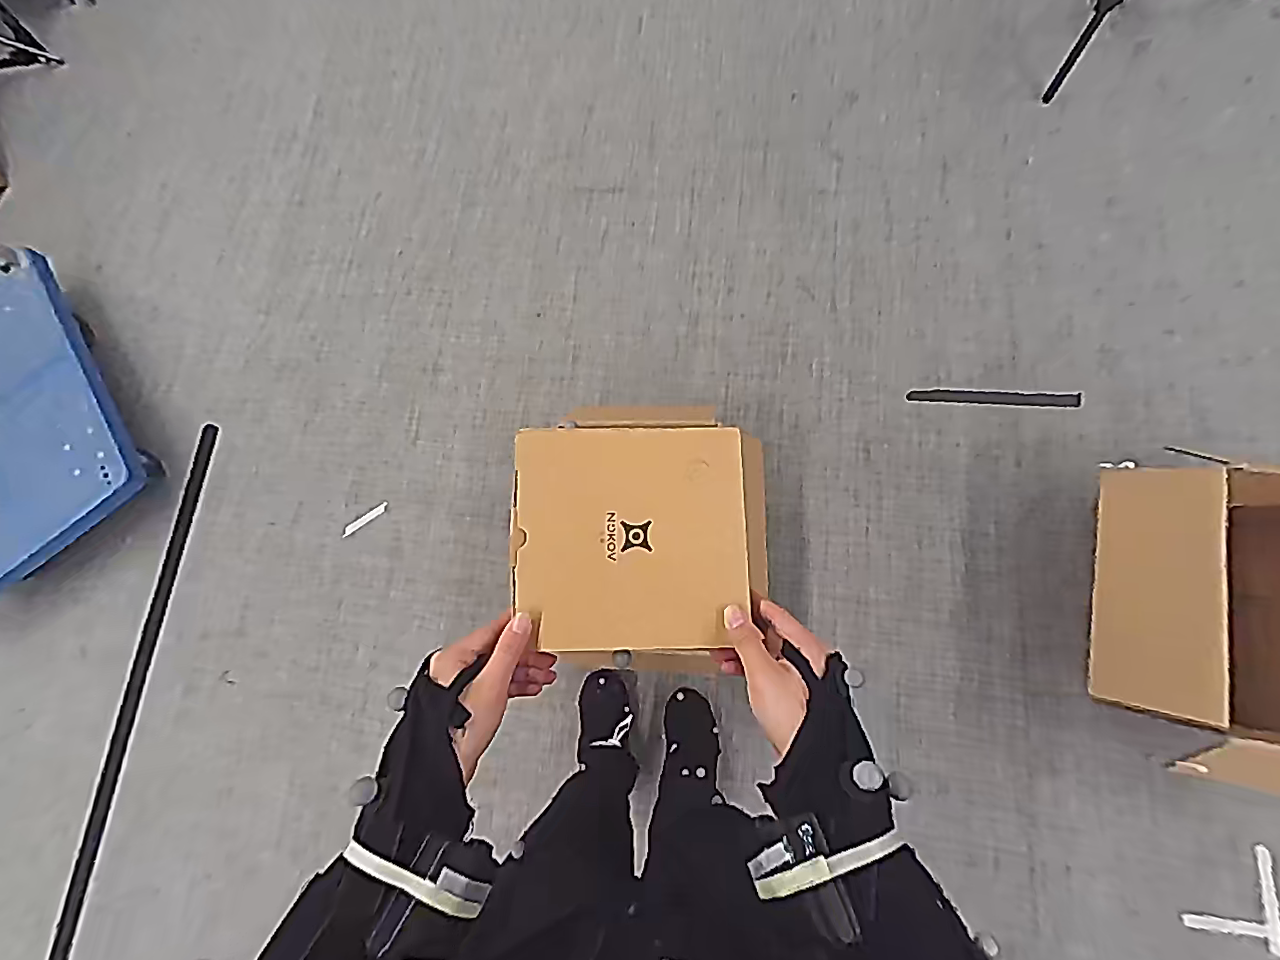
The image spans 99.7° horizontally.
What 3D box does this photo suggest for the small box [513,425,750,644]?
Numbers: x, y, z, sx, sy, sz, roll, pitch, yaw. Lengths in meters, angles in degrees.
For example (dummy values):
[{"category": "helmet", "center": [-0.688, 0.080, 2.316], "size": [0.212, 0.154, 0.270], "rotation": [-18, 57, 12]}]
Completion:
[{"category": "small box", "center": [-0.007, 0.051, 0.485], "size": [0.179, 0.176, 0.168], "rotation": [-1, 80, 0]}]
